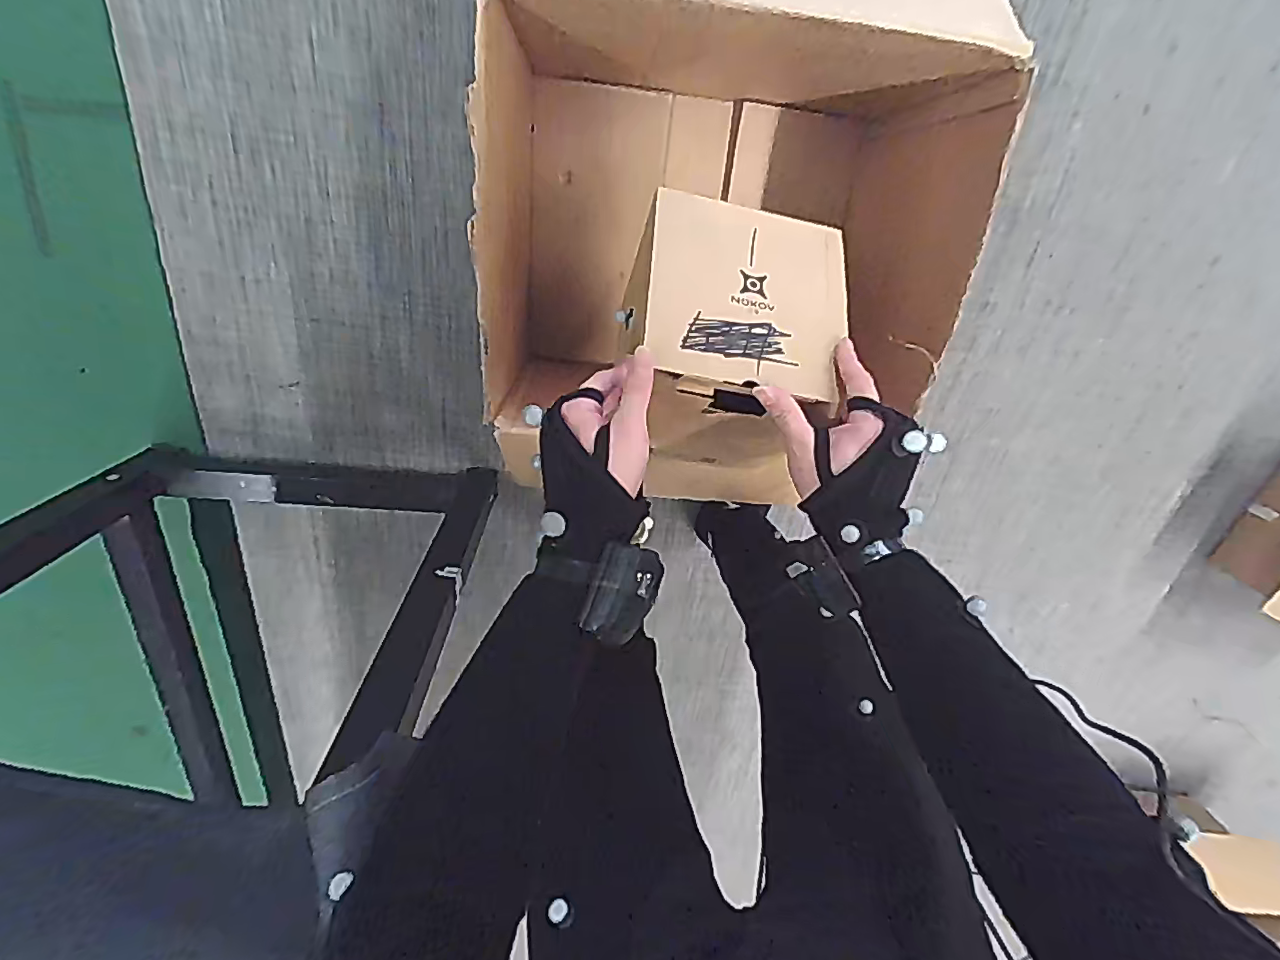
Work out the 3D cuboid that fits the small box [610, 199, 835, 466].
[{"bbox_3d":[0.069,-0.123,0.521,0.168,0.176,0.179,9,74,-9],"label":"small box"}]
